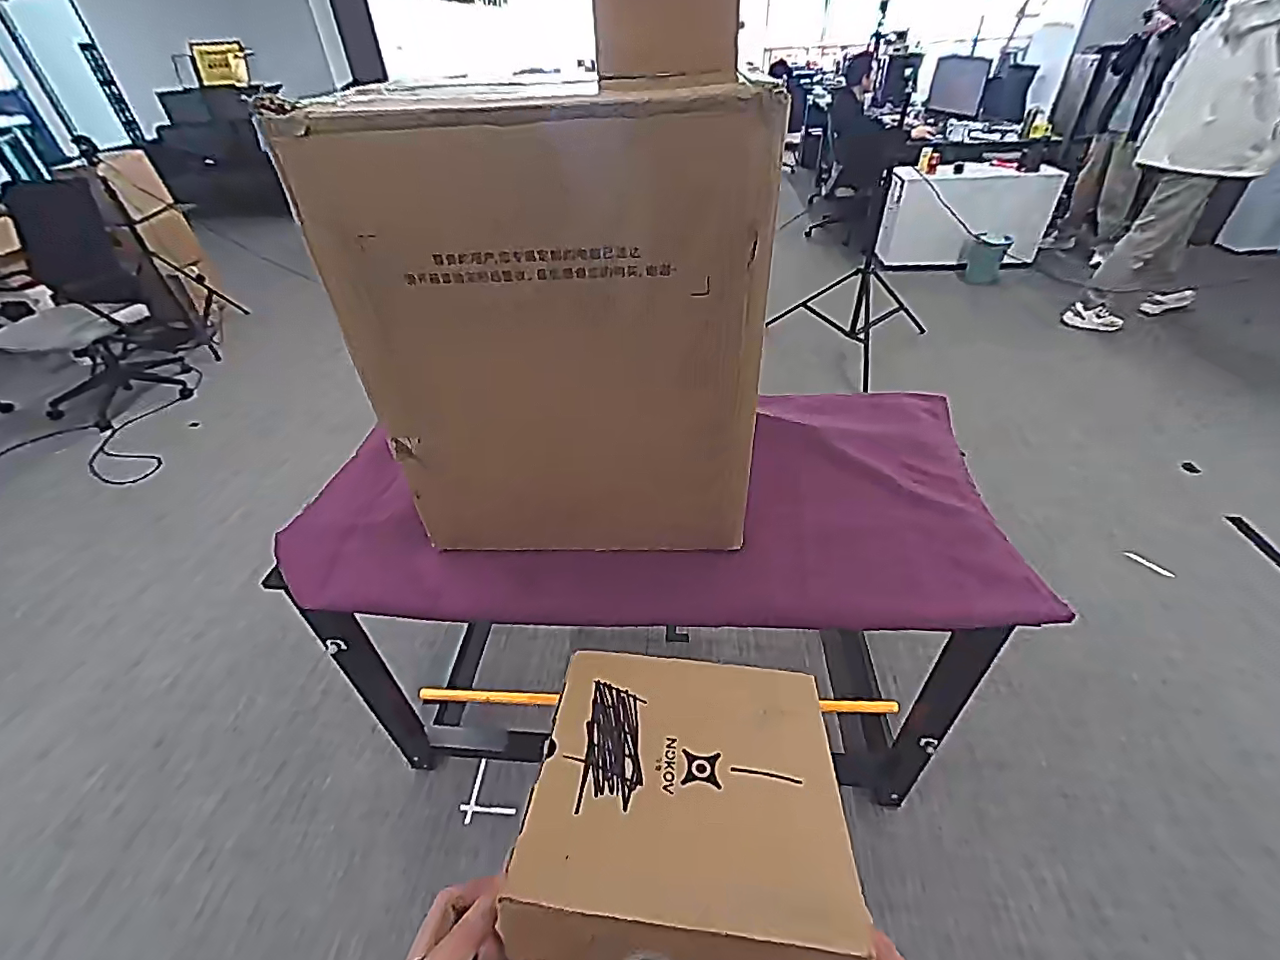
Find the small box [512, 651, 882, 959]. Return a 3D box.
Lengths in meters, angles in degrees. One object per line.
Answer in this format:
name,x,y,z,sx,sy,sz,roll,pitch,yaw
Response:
small box,0.032,0.239,0.353,0.179,0.176,0.168,4,27,5
